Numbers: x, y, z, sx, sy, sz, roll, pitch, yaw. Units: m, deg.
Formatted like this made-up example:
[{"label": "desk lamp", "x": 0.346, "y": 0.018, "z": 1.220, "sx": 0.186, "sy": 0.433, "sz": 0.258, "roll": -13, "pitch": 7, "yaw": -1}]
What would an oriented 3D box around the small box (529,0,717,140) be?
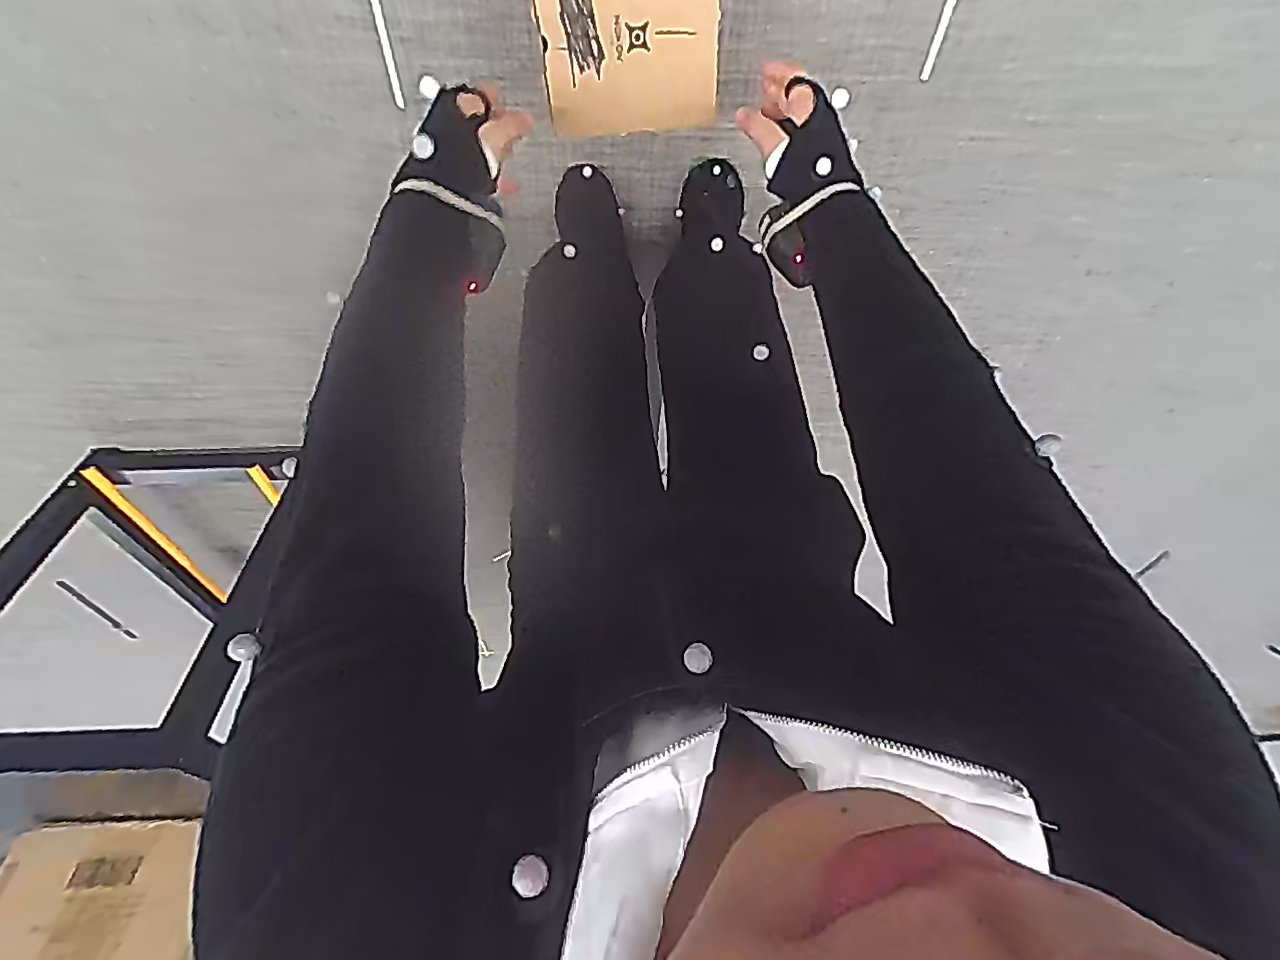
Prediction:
[{"label": "small box", "x": -0.016, "y": -0.482, "z": 0.573, "sx": 0.179, "sy": 0.176, "sz": 0.168, "roll": -4, "pitch": 138, "yaw": 1}]
